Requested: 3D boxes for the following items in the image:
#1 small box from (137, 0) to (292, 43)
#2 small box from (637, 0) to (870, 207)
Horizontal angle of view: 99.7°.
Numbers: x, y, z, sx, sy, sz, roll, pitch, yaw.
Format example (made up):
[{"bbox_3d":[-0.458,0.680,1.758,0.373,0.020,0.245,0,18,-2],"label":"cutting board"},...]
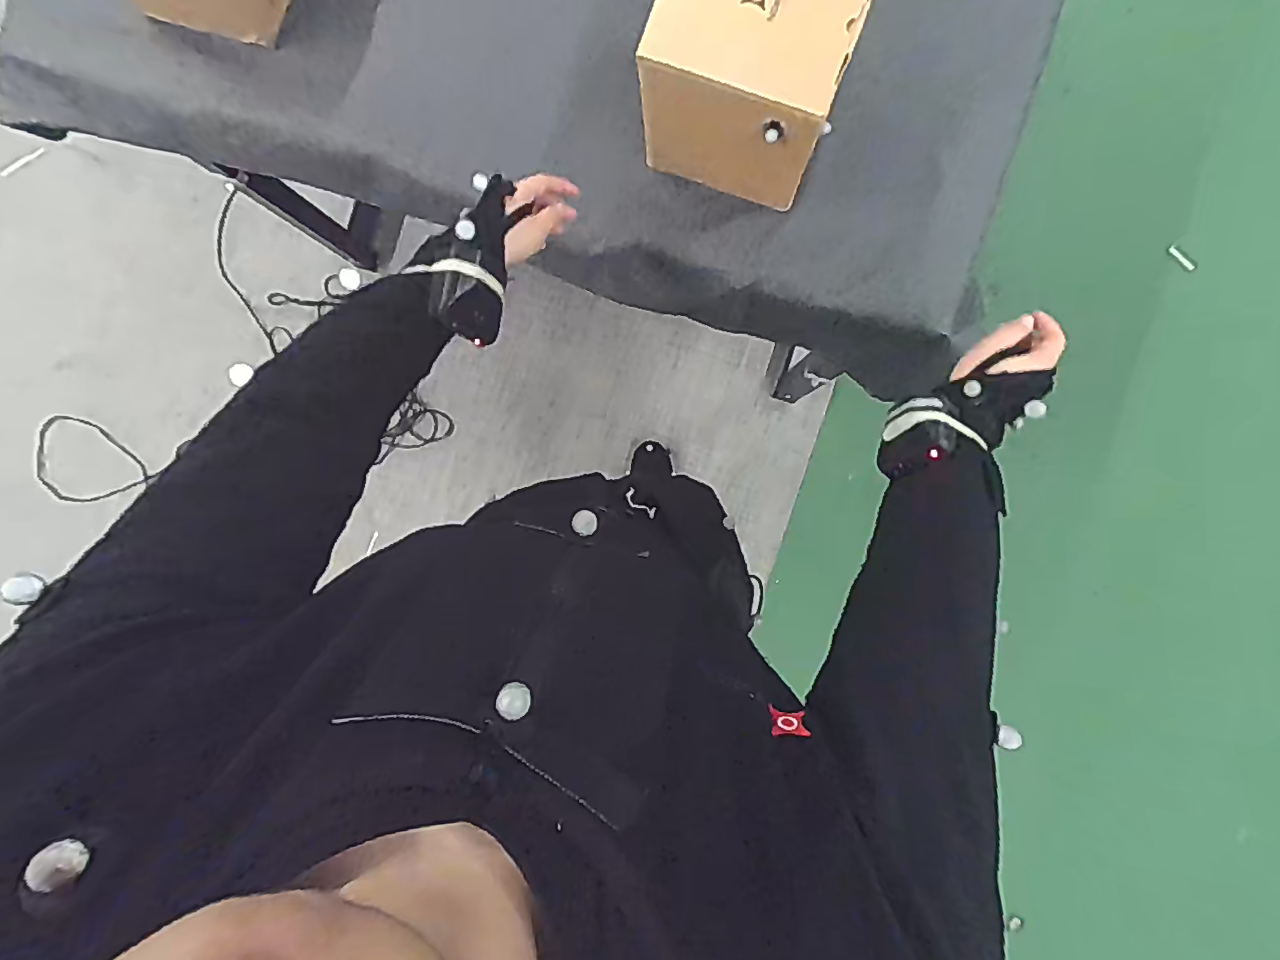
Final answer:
[{"bbox_3d":[-0.499,-0.617,0.571,0.179,0.176,0.168,17,92,1],"label":"small box"},{"bbox_3d":[0.109,-0.409,0.544,0.179,0.176,0.168,20,91,2],"label":"small box"}]
